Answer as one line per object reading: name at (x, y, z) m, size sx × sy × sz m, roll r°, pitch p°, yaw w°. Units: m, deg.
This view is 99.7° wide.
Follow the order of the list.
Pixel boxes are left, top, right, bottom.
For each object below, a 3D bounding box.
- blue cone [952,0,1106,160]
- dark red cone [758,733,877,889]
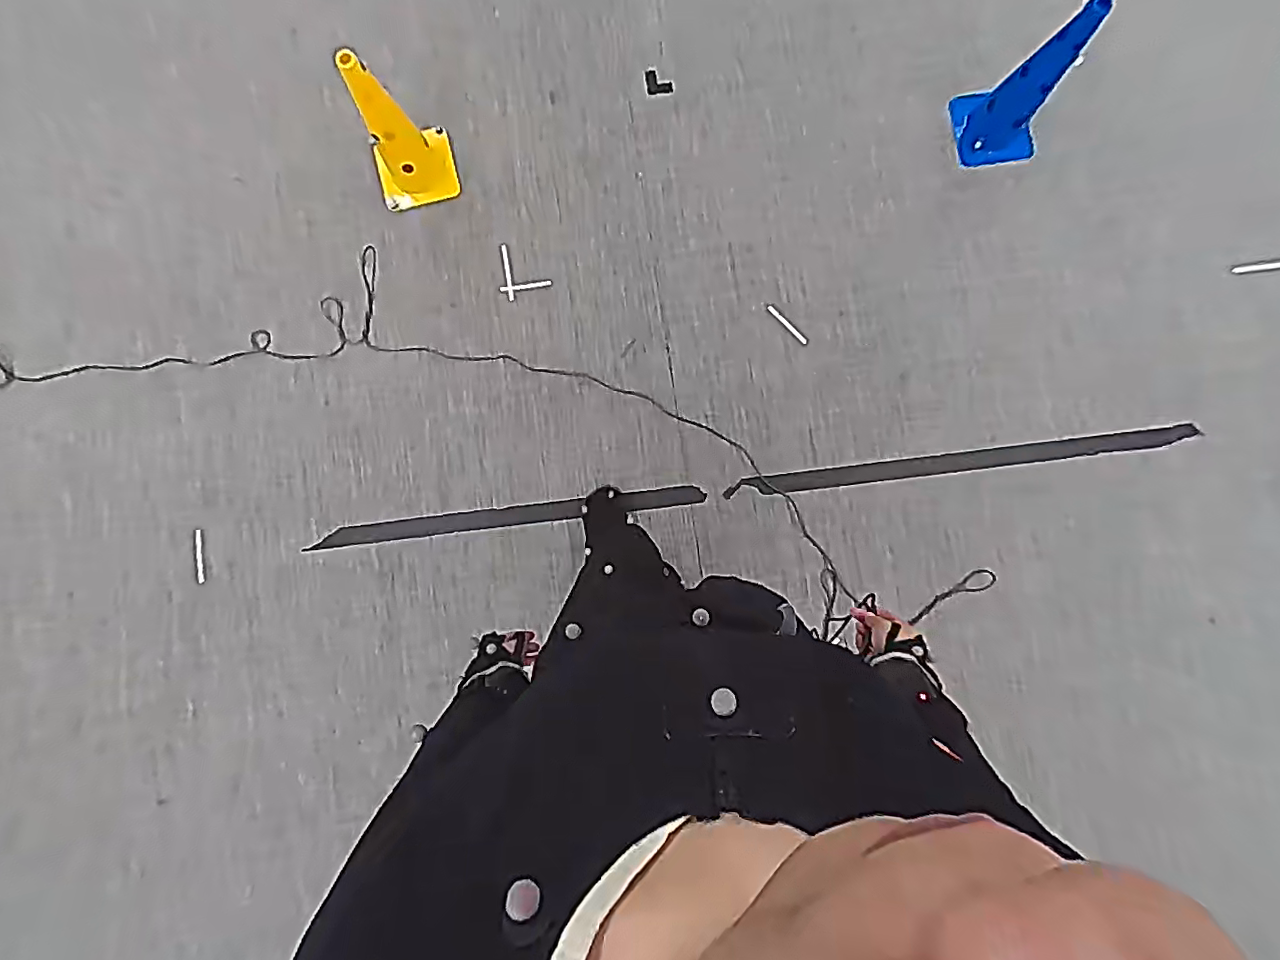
blue cone at (0.937, -0.962, 1.278) m, size 0.193 × 0.380 × 0.192 m, roll -7°, pitch 85°, yaw -1°
dark red cone at (0.397, 0.707, 1.127) m, size 0.202 × 0.394 × 0.201 m, roll -15°, pitch 85°, yaw -1°
